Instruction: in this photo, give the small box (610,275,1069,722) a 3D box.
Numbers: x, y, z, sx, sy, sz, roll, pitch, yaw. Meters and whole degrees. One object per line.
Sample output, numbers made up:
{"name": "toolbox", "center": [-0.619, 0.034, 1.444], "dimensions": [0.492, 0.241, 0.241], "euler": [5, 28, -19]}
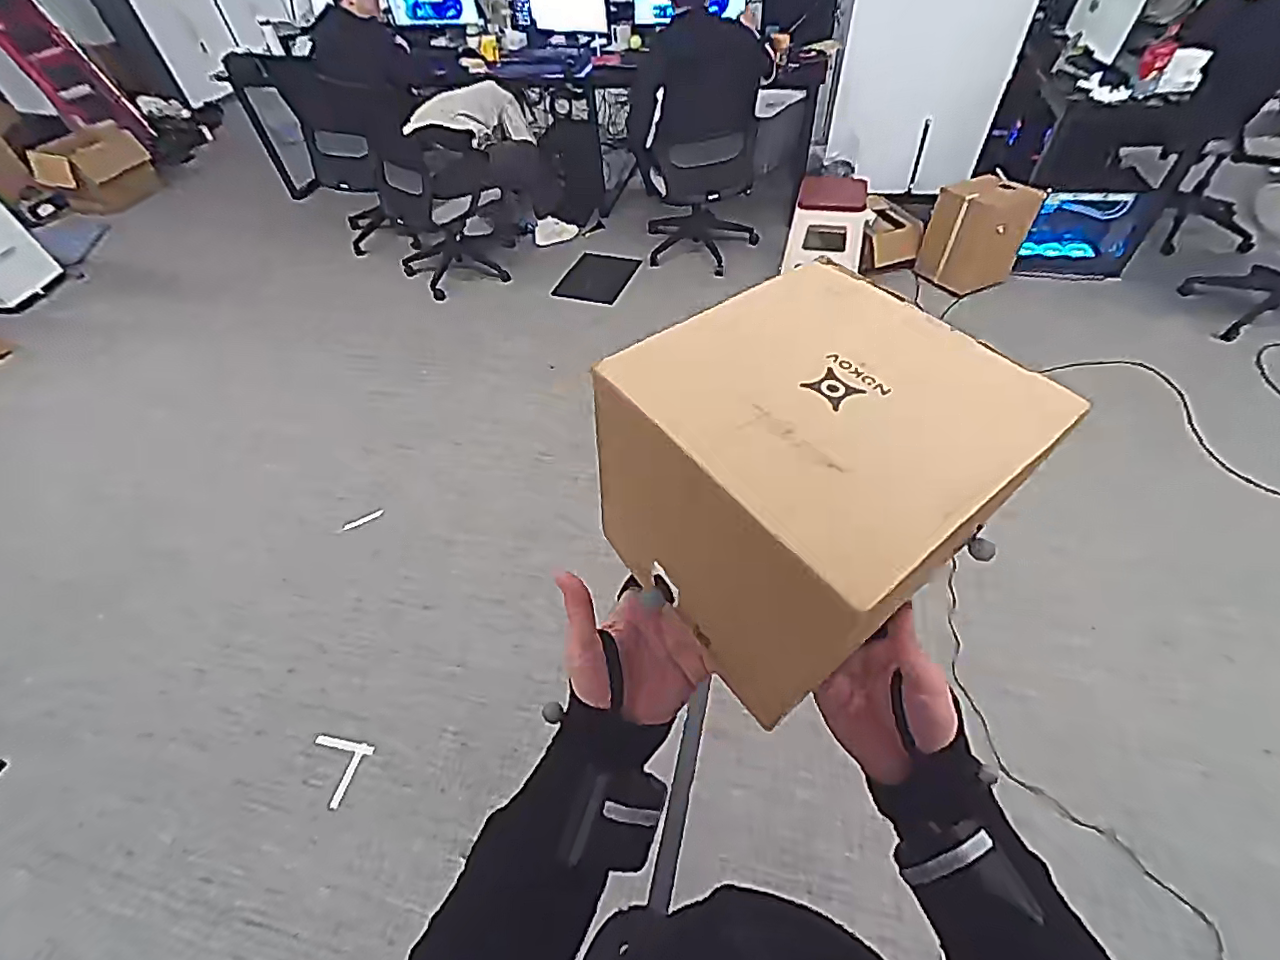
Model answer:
{"name": "small box", "center": [0.096, 0.010, 0.333], "dimensions": [0.179, 0.176, 0.168], "euler": [-32, 58, -24]}
